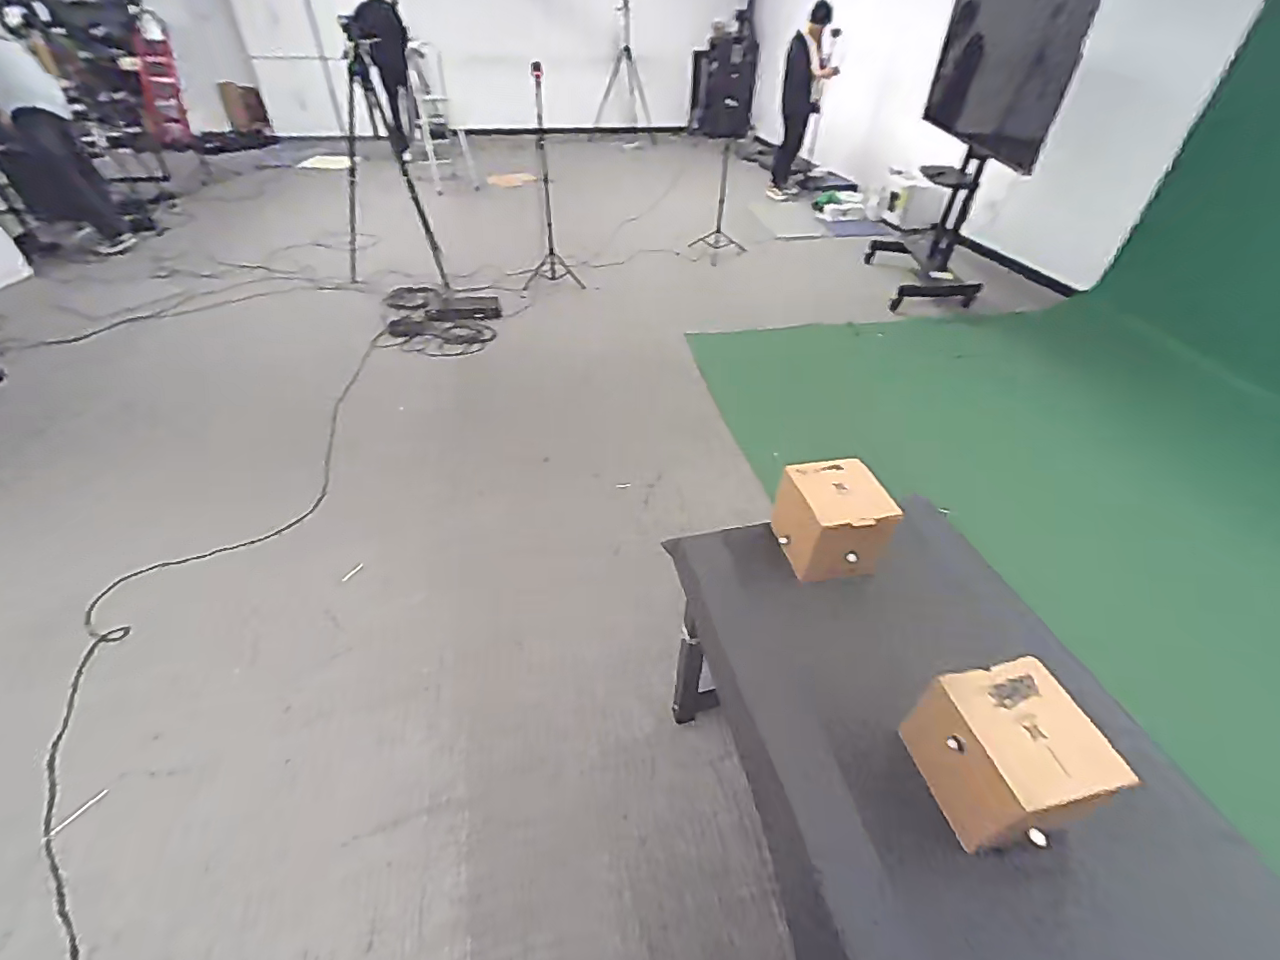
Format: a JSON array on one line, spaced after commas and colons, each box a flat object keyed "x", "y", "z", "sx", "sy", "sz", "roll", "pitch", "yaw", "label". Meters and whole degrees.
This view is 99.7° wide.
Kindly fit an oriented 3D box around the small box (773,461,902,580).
[{"x": 0.386, "y": 0.086, "z": 1.090, "sx": 0.168, "sy": 0.176, "sz": 0.179, "roll": -6, "pitch": 42, "yaw": -9, "label": "small box"}]

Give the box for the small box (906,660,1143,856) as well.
[{"x": 0.507, "y": 0.383, "z": 0.750, "sx": 0.168, "sy": 0.176, "sz": 0.179, "roll": -8, "pitch": 42, "yaw": -10, "label": "small box"}]
